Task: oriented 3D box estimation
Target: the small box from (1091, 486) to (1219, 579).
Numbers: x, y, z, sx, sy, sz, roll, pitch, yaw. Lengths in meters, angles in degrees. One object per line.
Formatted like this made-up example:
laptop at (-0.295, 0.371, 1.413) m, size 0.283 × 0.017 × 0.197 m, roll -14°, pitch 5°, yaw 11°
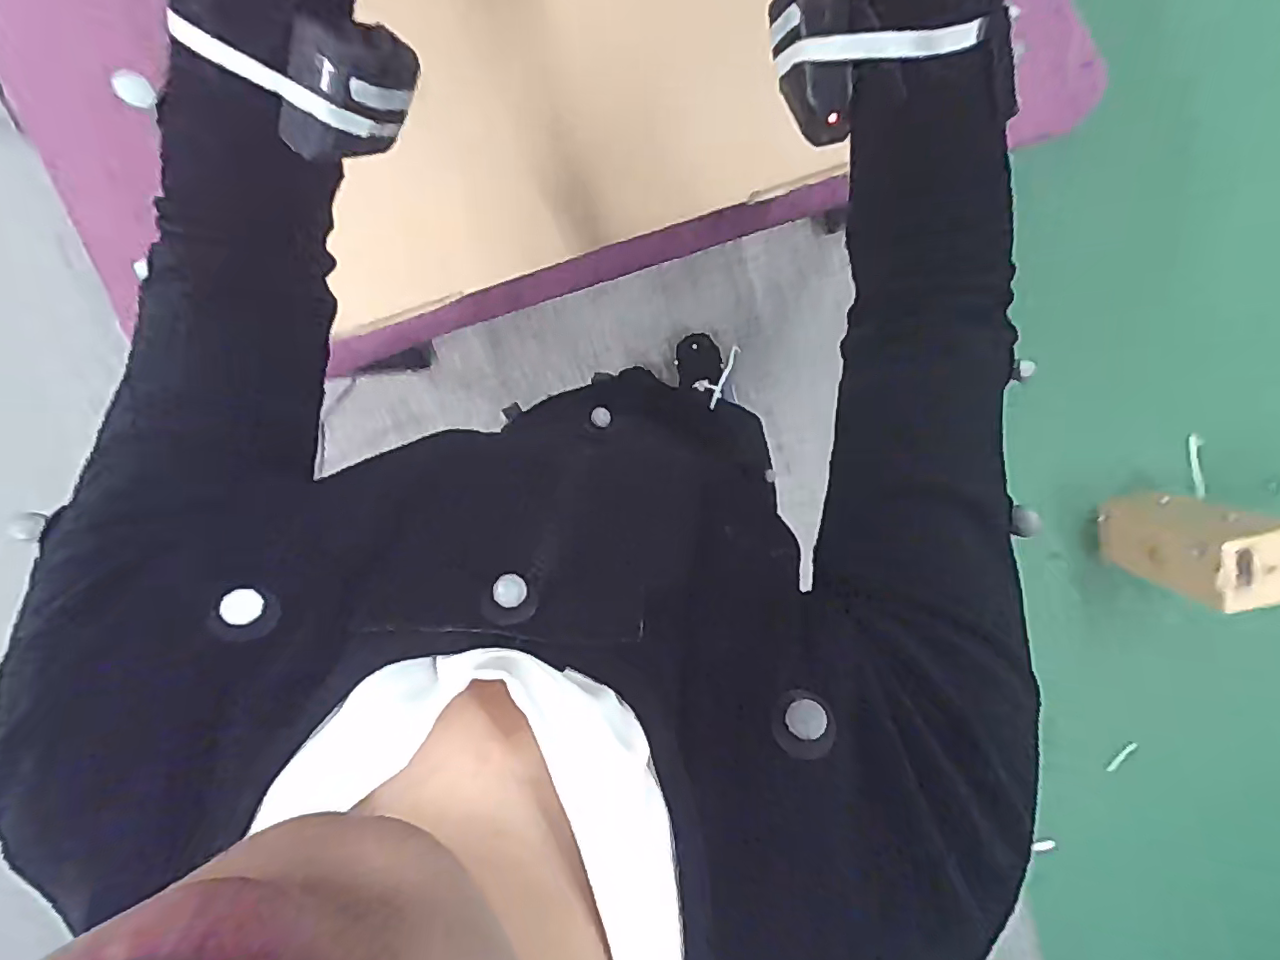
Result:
small box at (1.304, 0.129, 1.386) m, size 0.179 × 0.176 × 0.168 m, roll -17°, pitch 102°, yaw 7°
